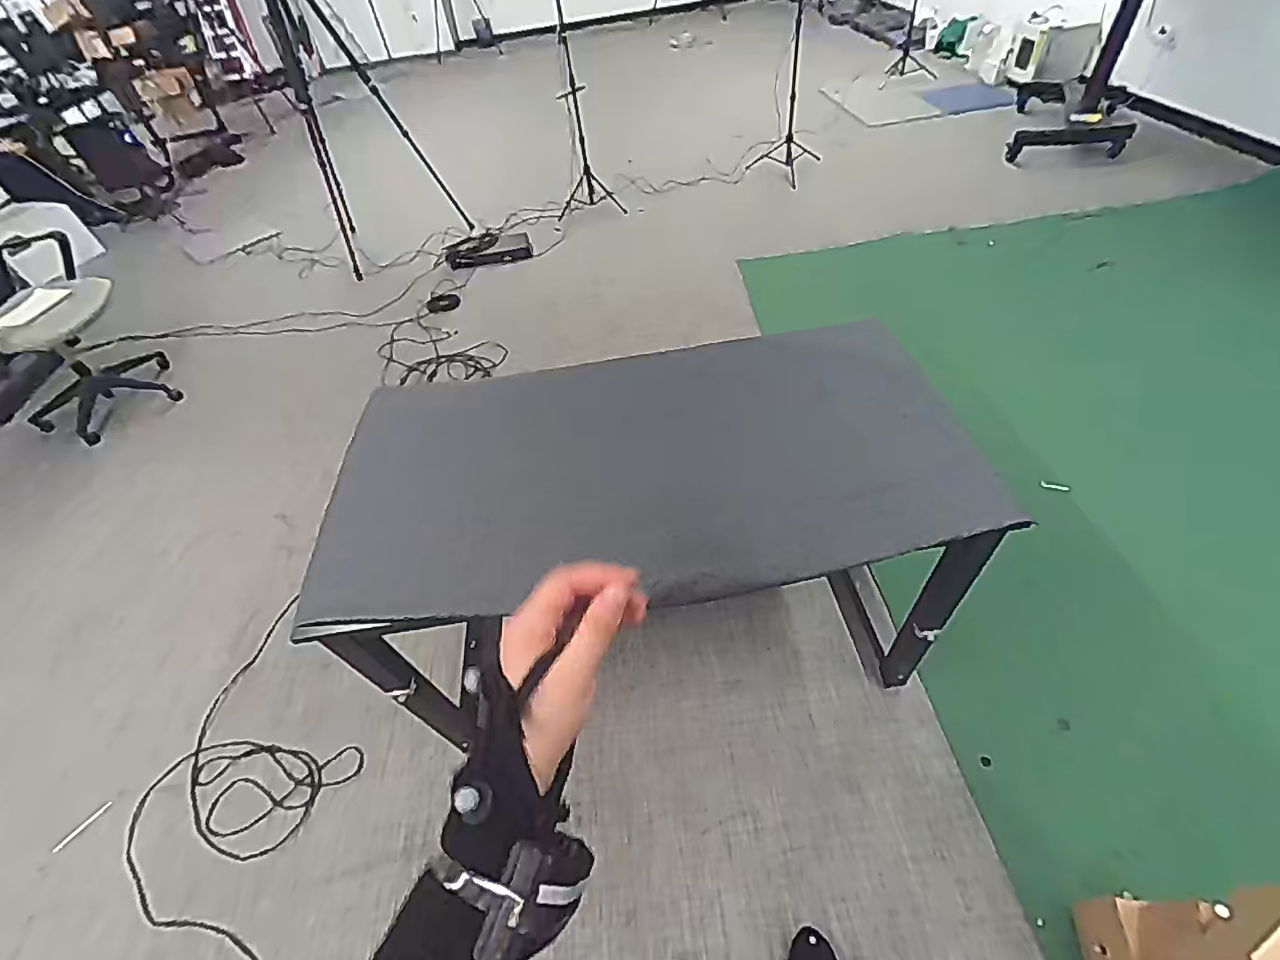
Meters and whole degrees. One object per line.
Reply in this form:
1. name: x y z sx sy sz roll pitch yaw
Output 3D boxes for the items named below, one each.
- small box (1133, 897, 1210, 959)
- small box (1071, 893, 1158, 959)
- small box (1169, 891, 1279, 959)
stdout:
1. small box: 0.904 0.790 0.833 0.179 0.176 0.168 22 57 24
2. small box: 0.923 0.871 0.976 0.179 0.176 0.168 4 51 11
3. small box: 0.885 0.677 0.715 0.168 0.176 0.179 -27 50 -13
